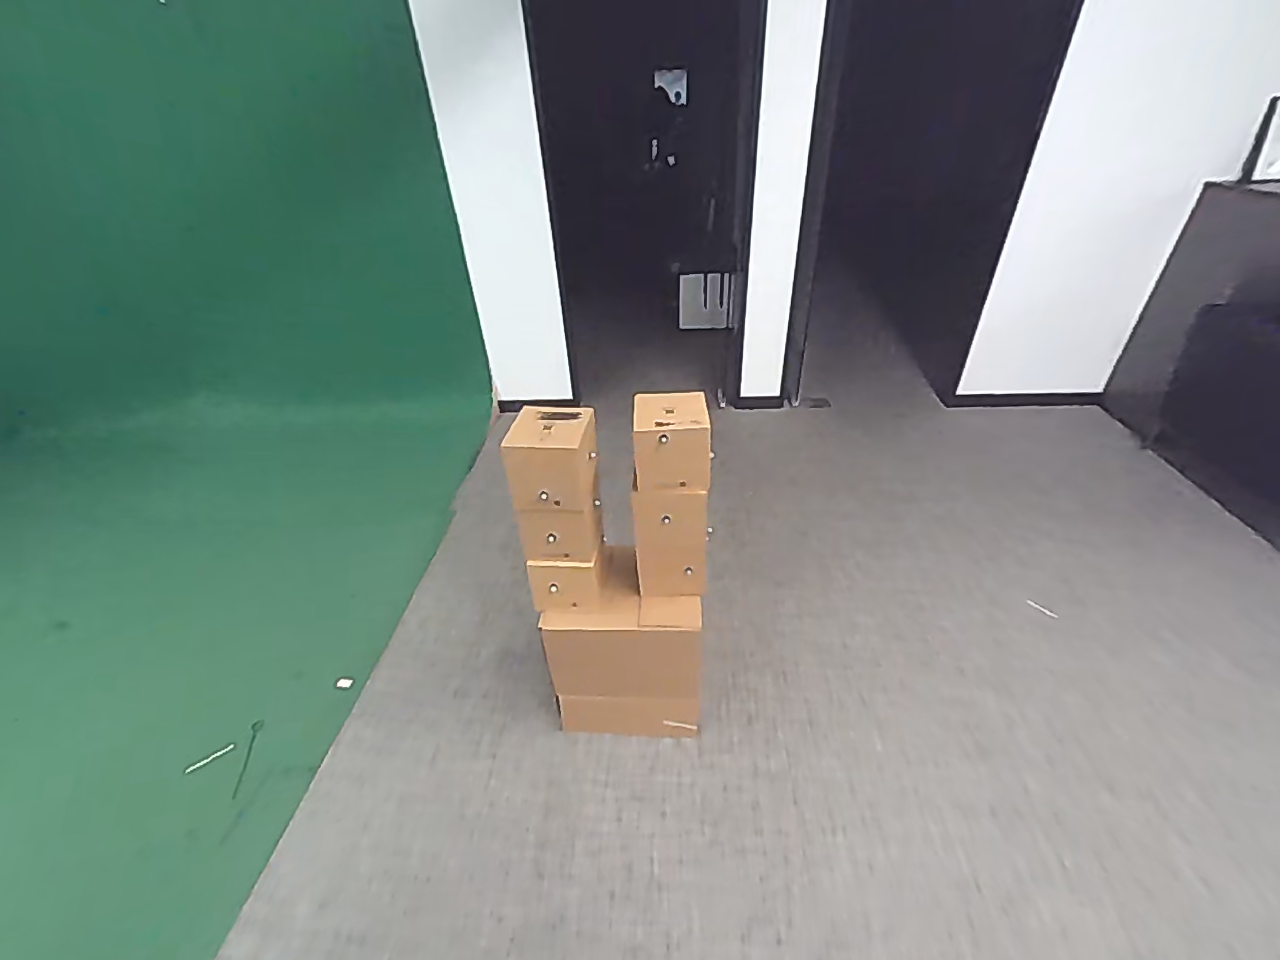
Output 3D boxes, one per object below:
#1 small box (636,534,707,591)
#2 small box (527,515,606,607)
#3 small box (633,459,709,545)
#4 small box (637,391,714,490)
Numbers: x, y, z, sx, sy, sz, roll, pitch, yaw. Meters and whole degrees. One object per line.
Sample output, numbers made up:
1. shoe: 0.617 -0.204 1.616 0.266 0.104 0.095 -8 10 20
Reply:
1. small box: 0.085 0.180 1.433 0.179 0.176 0.168 -2 35 4
2. small box: -0.181 0.210 1.406 0.168 0.176 0.179 2 36 5
3. small box: 0.080 0.048 1.337 0.179 0.176 0.168 -1 35 5
4. small box: 0.080 -0.094 1.252 0.168 0.176 0.179 -2 35 3
